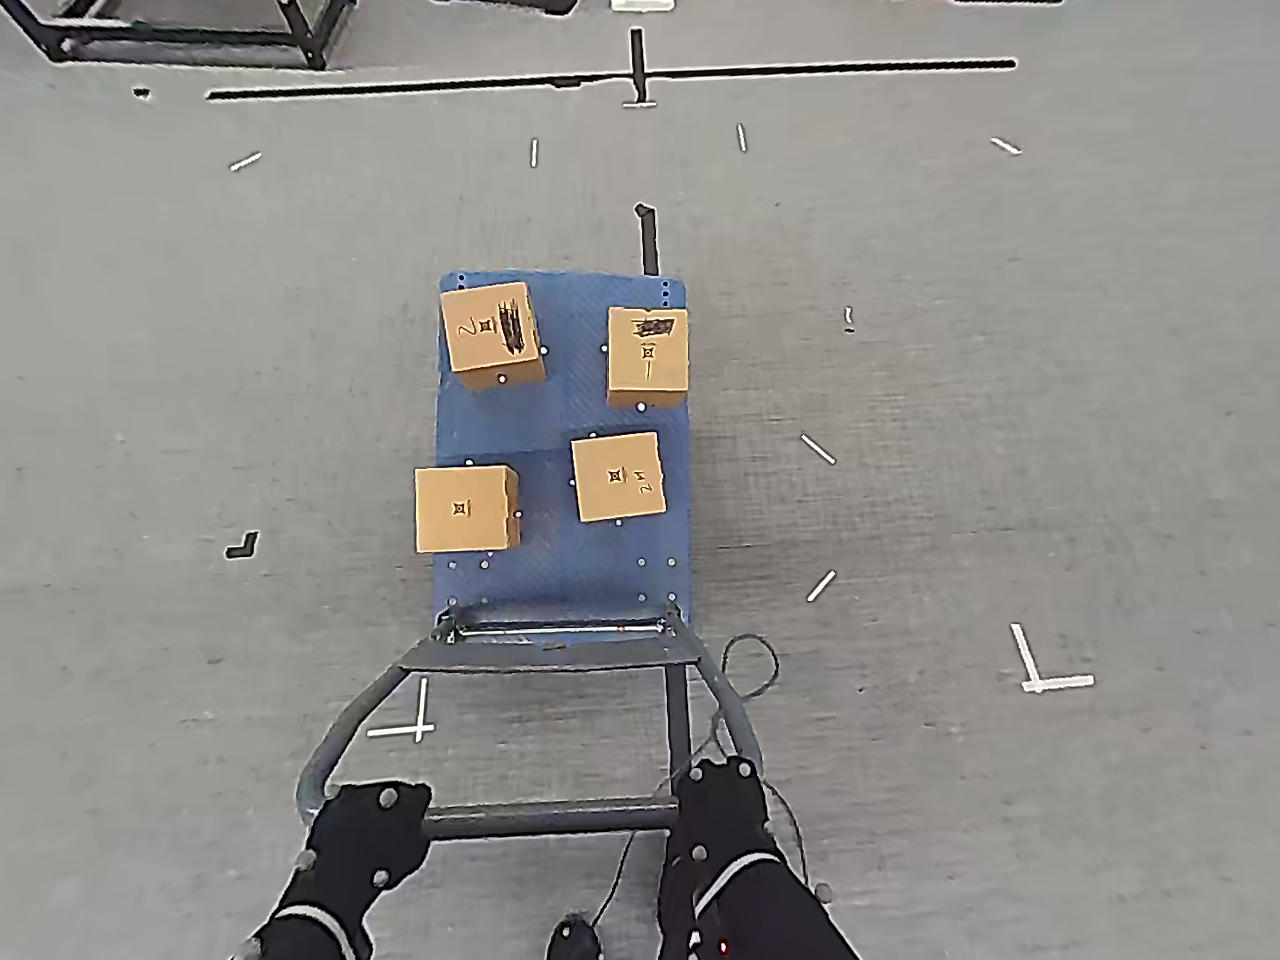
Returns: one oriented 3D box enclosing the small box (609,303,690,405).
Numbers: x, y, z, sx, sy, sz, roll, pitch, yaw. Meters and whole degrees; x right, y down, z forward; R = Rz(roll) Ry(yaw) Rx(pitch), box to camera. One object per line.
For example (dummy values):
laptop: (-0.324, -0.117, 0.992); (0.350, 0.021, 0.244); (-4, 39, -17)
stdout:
small box: (0.016, -0.270, 1.188); (0.168, 0.176, 0.179); (0, 87, -4)

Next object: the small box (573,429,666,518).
small box: (-0.045, -0.009, 1.163); (0.179, 0.176, 0.168); (-6, 86, -5)

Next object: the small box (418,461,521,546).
small box: (-0.350, 0.053, 1.135); (0.179, 0.176, 0.168); (-2, 86, -6)
